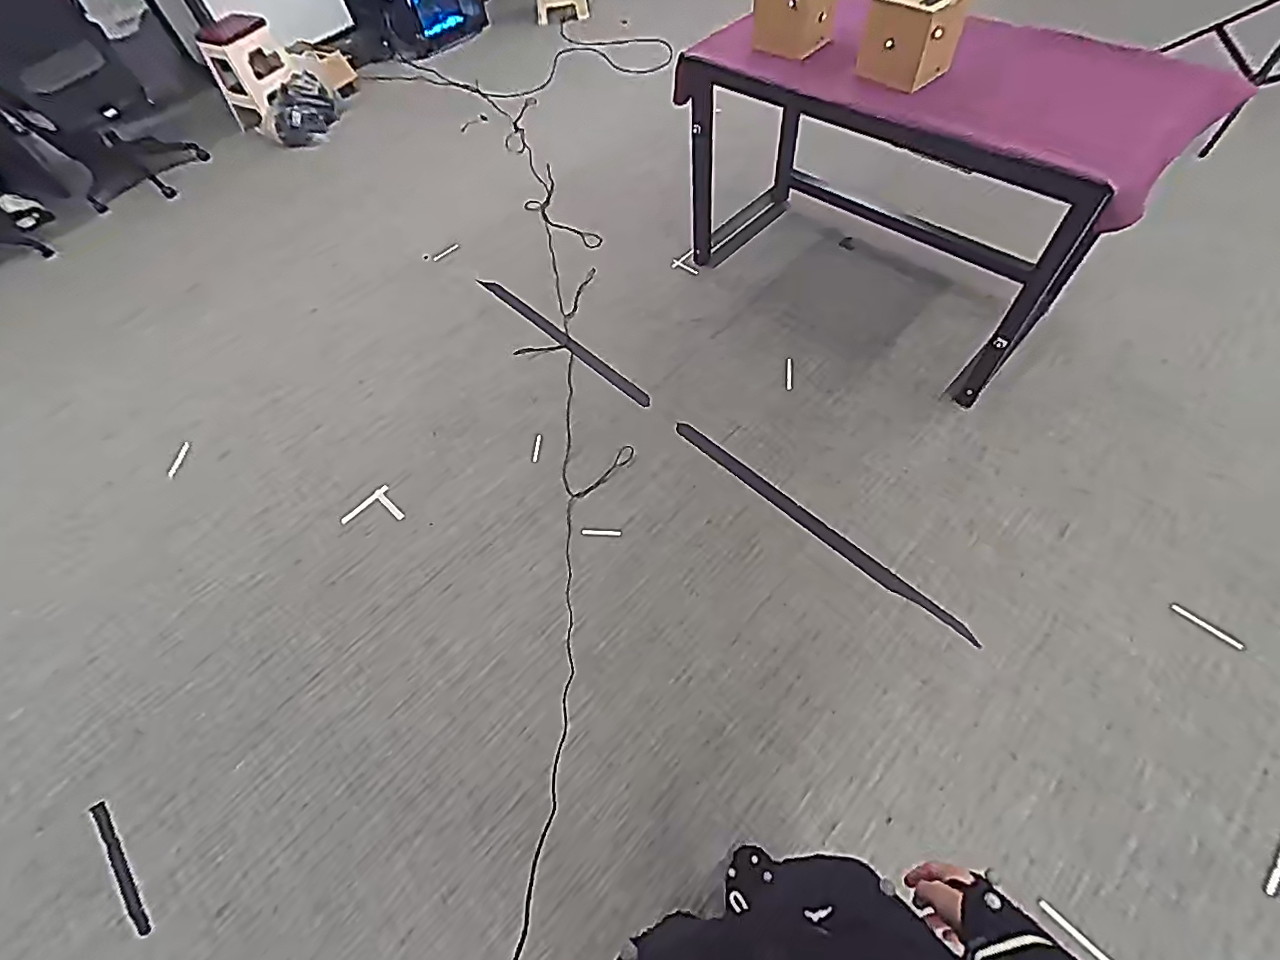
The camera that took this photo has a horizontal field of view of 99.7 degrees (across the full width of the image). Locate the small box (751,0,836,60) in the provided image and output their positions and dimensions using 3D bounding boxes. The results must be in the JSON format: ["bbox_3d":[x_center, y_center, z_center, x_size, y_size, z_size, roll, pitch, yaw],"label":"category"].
[{"bbox_3d":[0.431,-1.304,1.503,0.179,0.176,0.168,36,67,24],"label":"small box"}]
